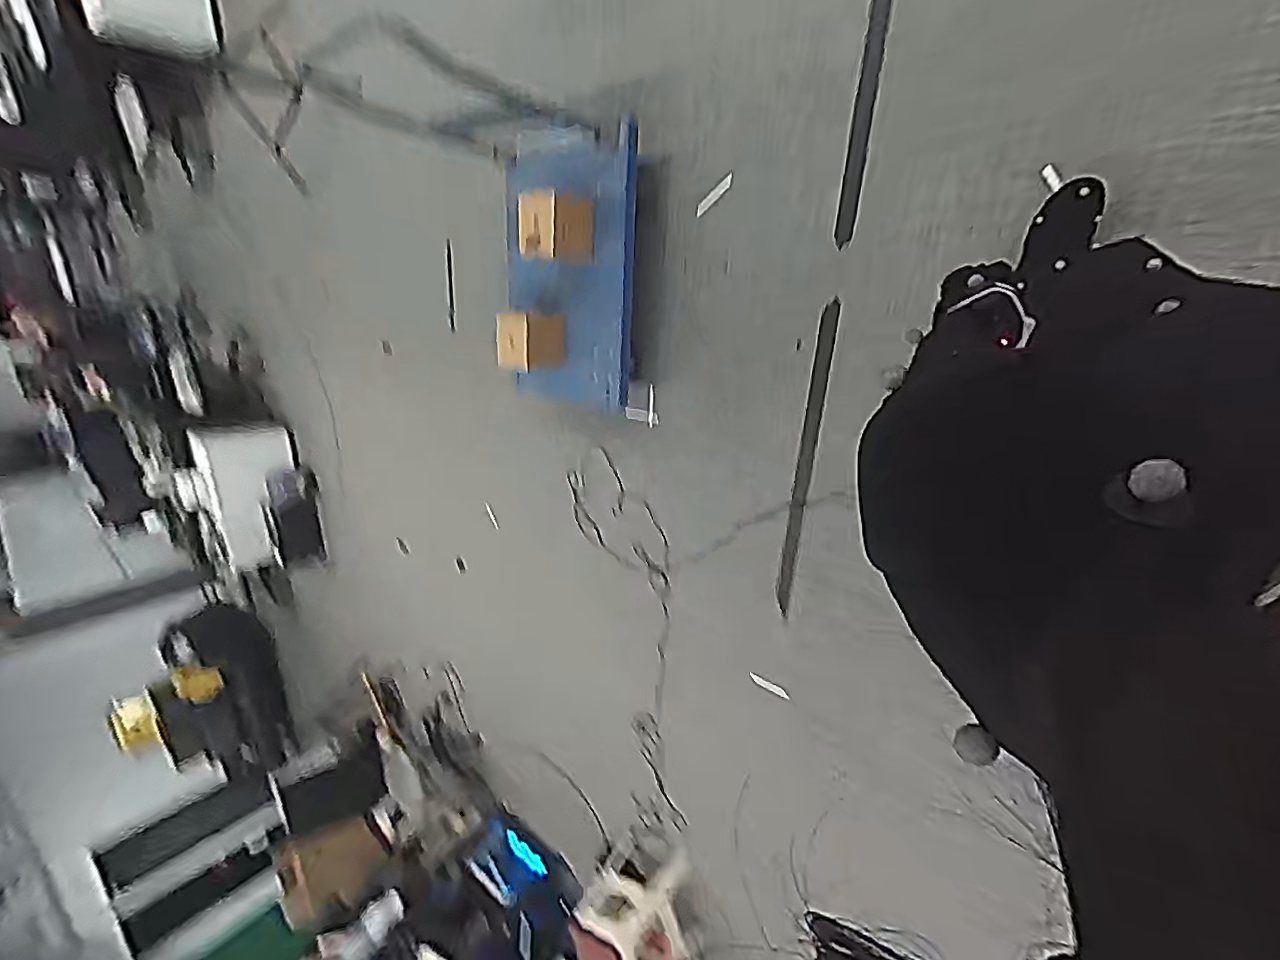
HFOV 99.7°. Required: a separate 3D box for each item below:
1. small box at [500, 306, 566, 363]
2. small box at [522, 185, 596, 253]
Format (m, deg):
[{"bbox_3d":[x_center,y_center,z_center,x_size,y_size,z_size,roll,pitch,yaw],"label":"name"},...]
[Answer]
[{"bbox_3d":[-0.371,-0.514,1.893,0.168,0.176,0.179,19,116,37],"label":"small box"},{"bbox_3d":[-0.252,-0.813,1.694,0.168,0.176,0.179,20,116,36],"label":"small box"}]
